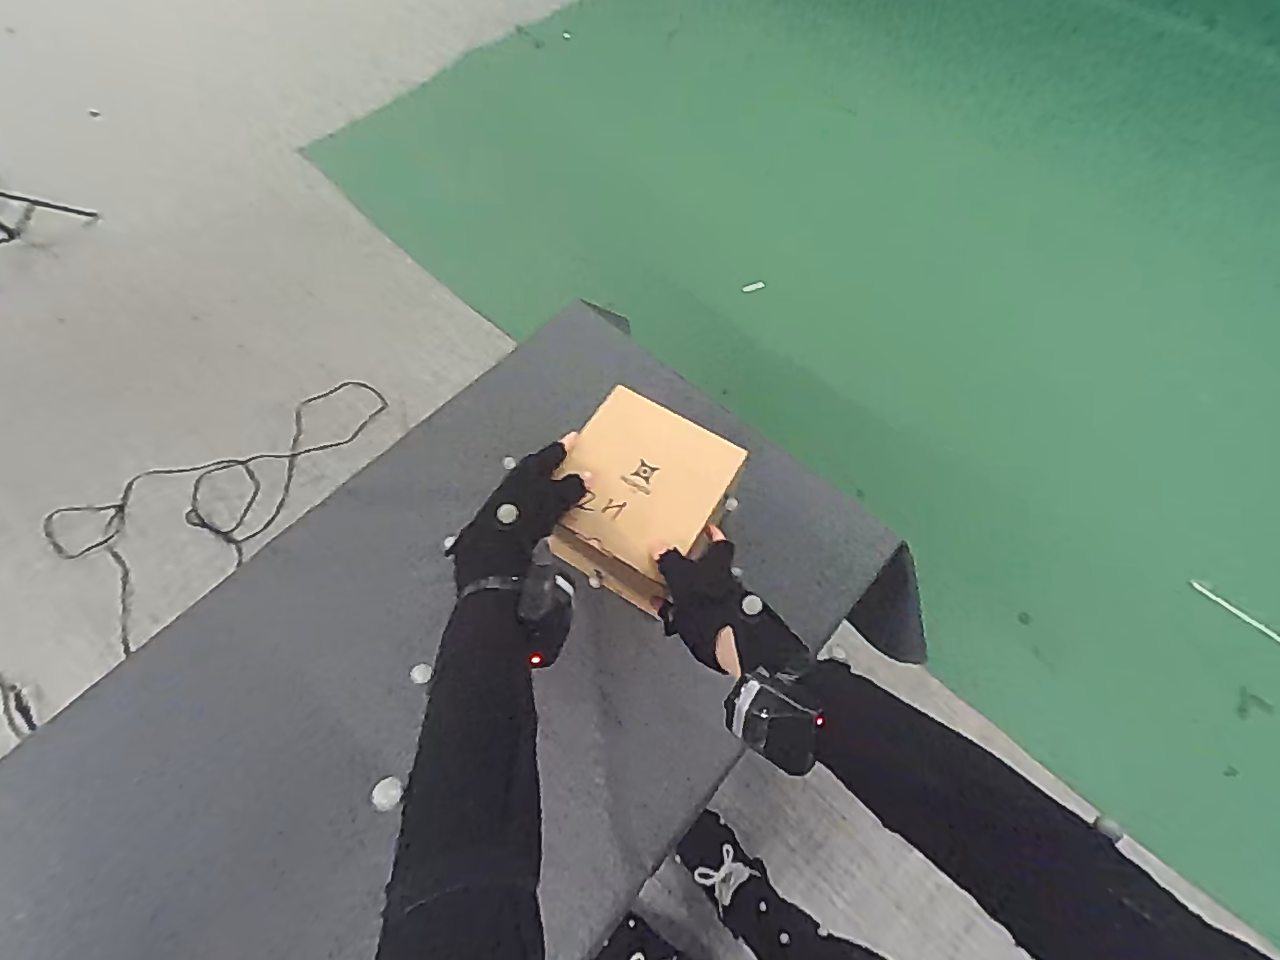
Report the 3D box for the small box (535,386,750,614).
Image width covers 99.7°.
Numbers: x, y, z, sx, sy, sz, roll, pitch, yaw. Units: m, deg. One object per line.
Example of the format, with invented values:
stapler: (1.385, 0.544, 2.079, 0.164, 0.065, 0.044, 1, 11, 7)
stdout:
small box: (0.005, 0.030, 0.633, 0.168, 0.176, 0.179, 30, 70, 14)
